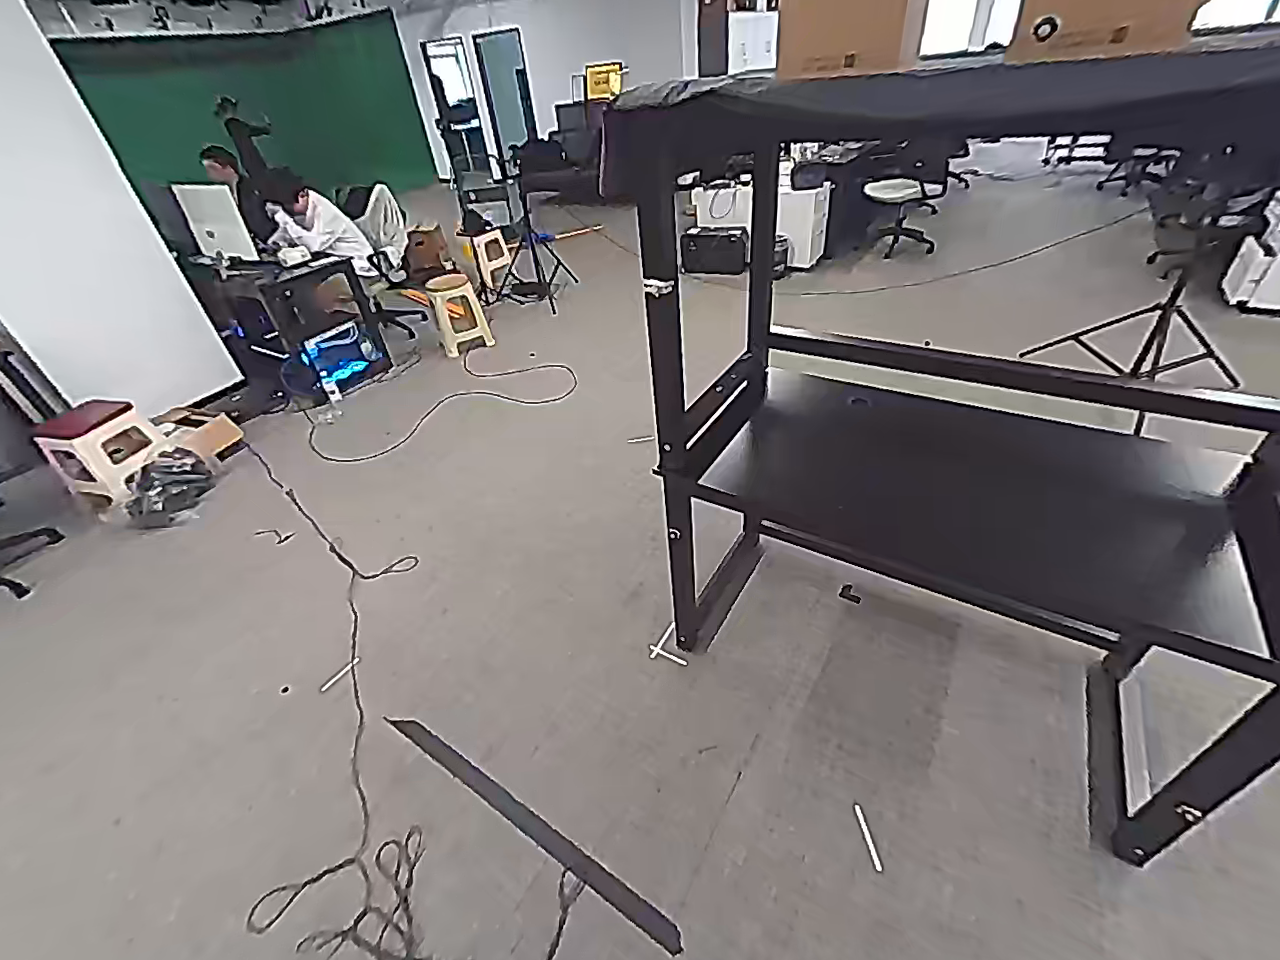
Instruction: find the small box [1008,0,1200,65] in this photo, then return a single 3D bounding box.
[{"bbox_3d":[0.541,-0.586,0.612,0.168,0.176,0.179,18,41,28],"label":"small box"}]
